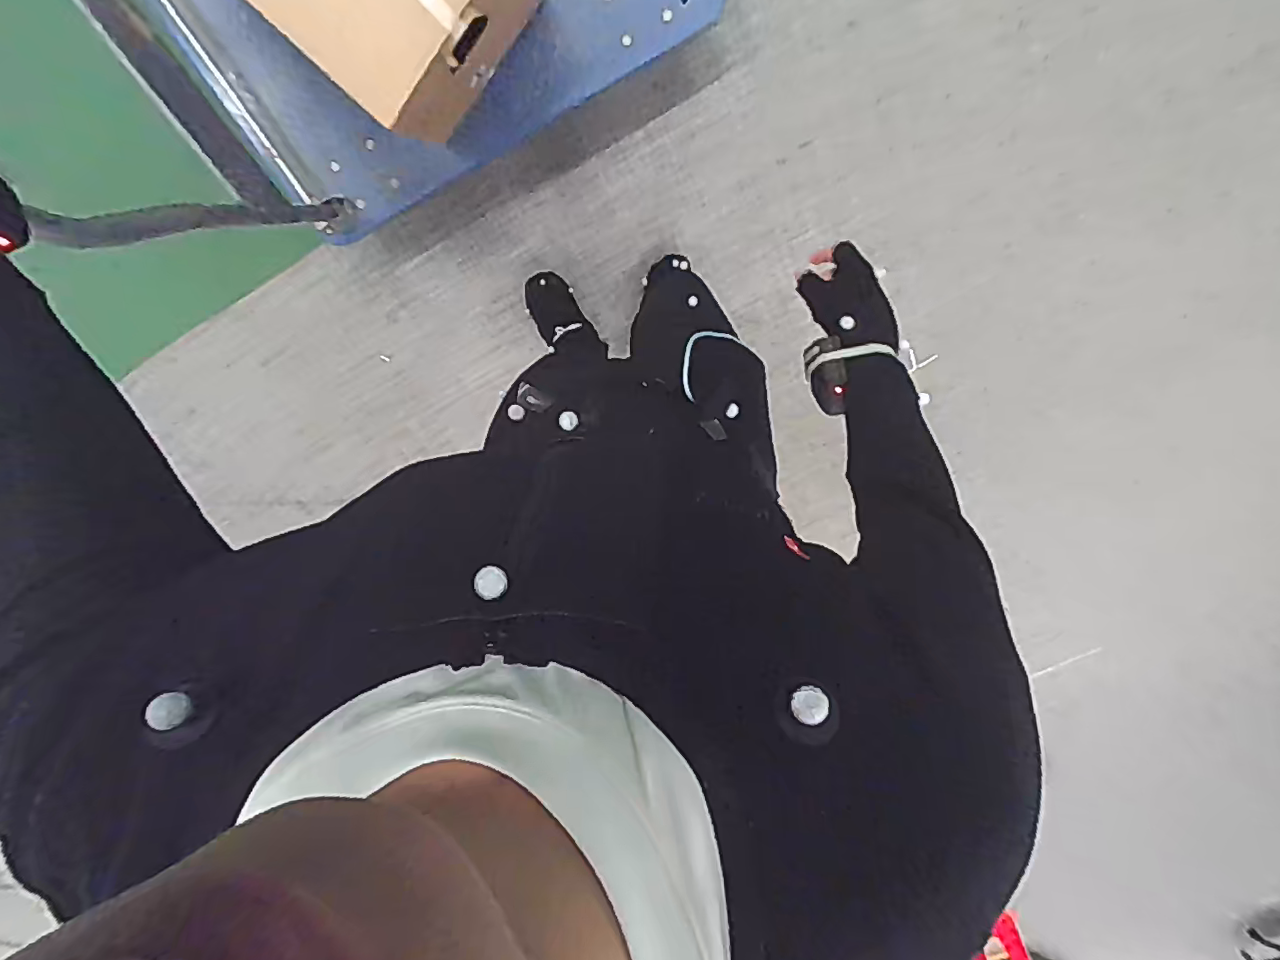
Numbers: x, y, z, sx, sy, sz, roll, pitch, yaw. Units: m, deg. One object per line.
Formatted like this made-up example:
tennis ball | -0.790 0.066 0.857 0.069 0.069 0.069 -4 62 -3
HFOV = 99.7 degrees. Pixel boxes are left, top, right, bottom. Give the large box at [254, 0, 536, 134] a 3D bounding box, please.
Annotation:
large box | -0.391 -0.776 0.751 0.408 0.320 0.320 40 109 -22
